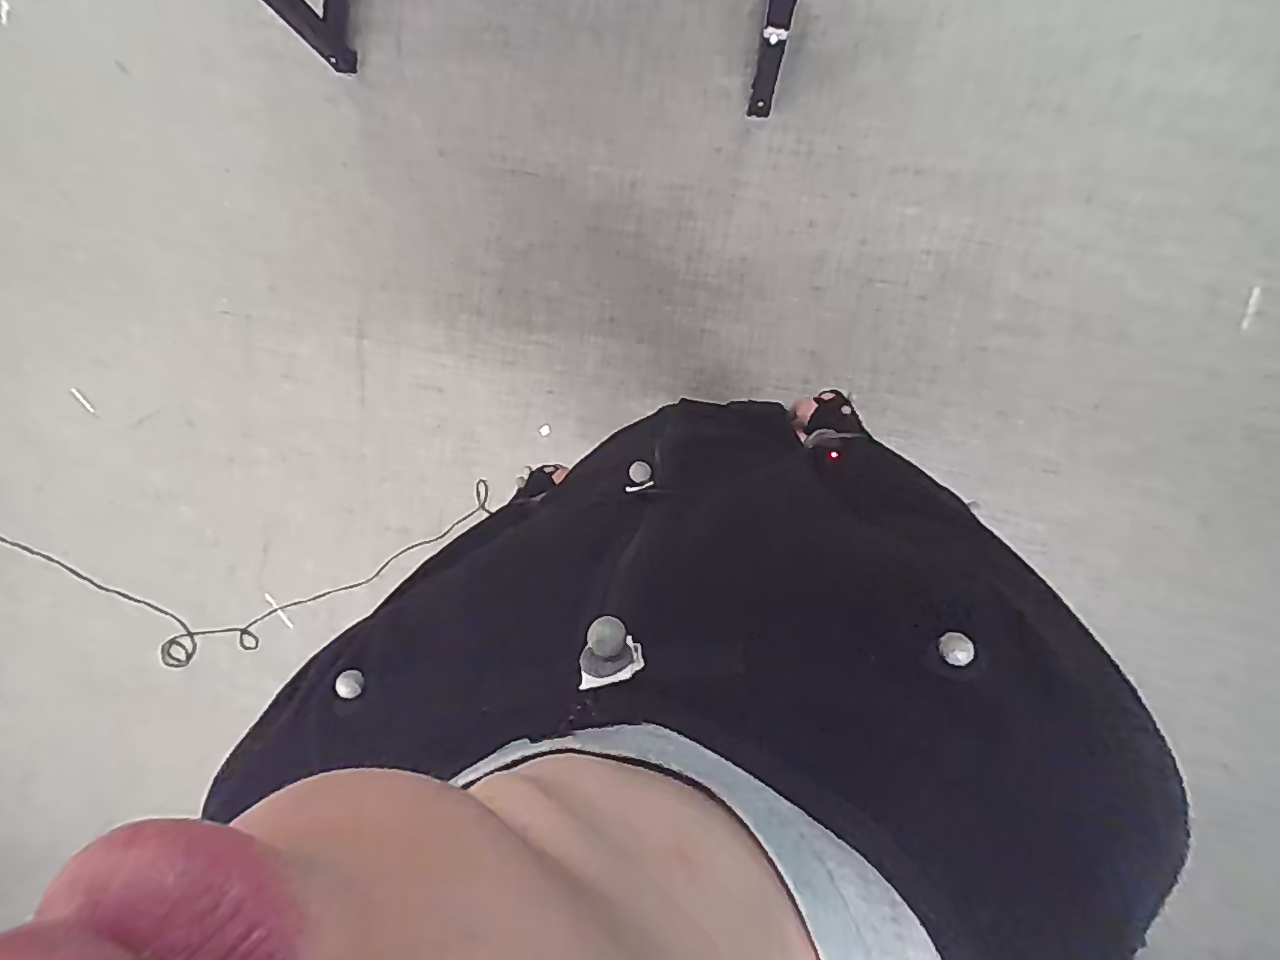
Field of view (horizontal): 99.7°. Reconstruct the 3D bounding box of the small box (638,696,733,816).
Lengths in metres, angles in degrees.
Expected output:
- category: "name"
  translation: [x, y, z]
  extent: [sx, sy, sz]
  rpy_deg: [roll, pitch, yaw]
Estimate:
- category: "small box"
  translation: [0.116, 0.700, 1.388]
  extent: [0.168, 0.176, 0.179]
  rpy_deg: [40, 98, -2]
